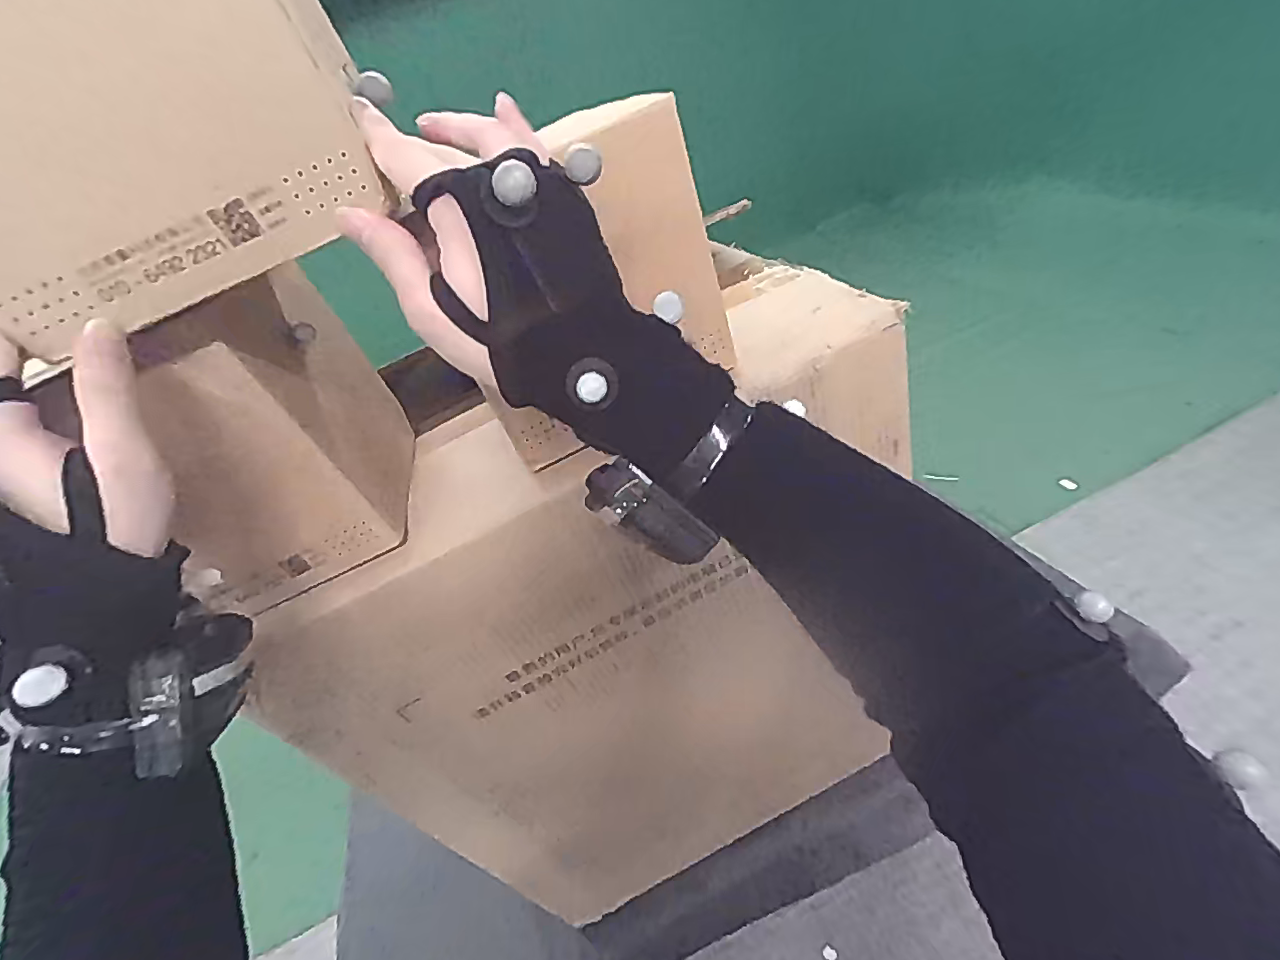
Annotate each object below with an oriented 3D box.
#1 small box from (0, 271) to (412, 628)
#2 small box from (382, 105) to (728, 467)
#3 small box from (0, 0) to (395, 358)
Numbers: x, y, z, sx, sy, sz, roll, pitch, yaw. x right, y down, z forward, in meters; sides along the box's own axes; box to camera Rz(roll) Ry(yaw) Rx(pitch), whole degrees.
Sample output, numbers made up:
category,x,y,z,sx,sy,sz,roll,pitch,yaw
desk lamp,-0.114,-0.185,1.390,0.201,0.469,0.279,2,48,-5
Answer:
category,x,y,z,sx,sy,sz,roll,pitch,yaw
small box,-0.279,-0.025,0.369,0.168,0.176,0.179,-26,36,-1
small box,-0.061,-0.138,0.389,0.168,0.176,0.179,-30,38,-7
small box,-0.232,-0.183,0.242,0.168,0.176,0.179,-26,42,-2
